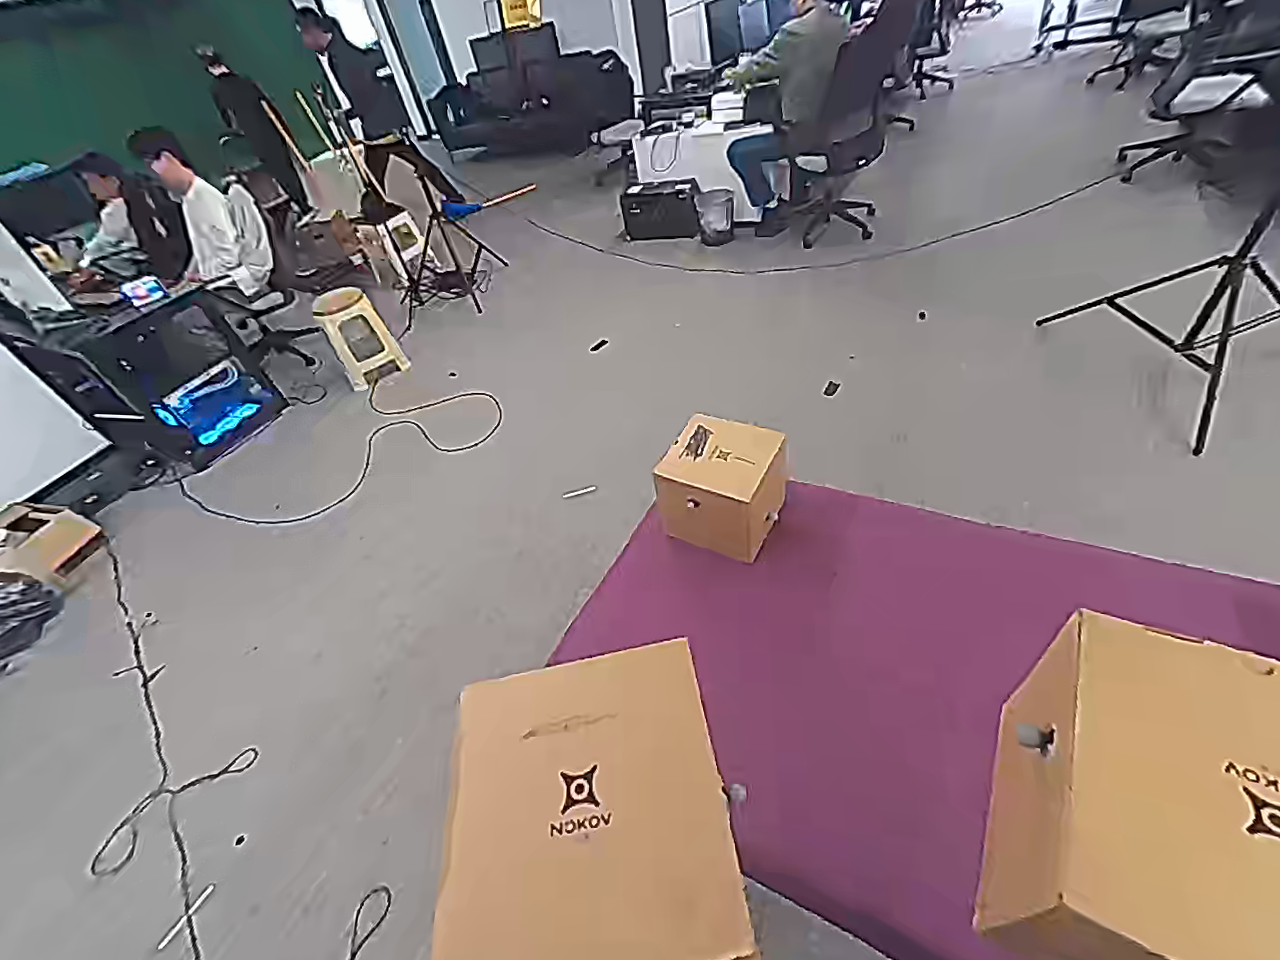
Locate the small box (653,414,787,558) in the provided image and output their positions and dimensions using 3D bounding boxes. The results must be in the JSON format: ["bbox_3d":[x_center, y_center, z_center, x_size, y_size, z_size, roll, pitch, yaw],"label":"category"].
[{"bbox_3d":[0.147,0.012,0.960,0.179,0.176,0.168,18,53,27],"label":"small box"}]

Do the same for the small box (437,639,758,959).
[{"bbox_3d":[-0.020,0.244,0.375,0.168,0.176,0.179,-13,42,-1],"label":"small box"}]

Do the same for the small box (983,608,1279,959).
[{"bbox_3d":[0.324,0.216,0.323,0.168,0.176,0.179,16,52,28],"label":"small box"}]
